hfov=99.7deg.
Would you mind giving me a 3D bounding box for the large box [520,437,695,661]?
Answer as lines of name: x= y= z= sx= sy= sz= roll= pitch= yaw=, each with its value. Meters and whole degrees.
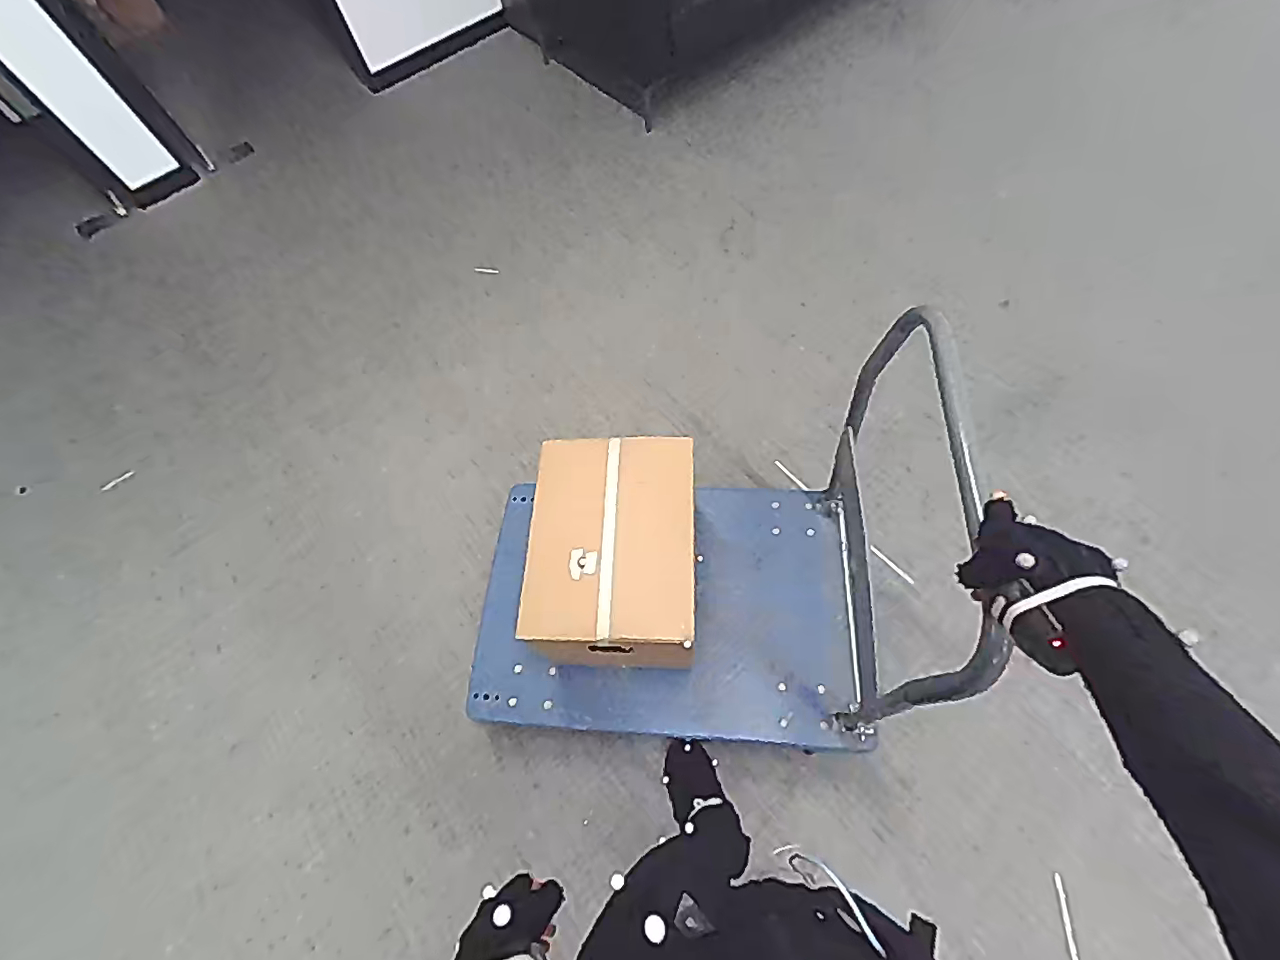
large box: x=-0.043 y=0.156 z=1.155 sx=0.320 sy=0.320 sz=0.408 roll=-1 pitch=64 yaw=7
